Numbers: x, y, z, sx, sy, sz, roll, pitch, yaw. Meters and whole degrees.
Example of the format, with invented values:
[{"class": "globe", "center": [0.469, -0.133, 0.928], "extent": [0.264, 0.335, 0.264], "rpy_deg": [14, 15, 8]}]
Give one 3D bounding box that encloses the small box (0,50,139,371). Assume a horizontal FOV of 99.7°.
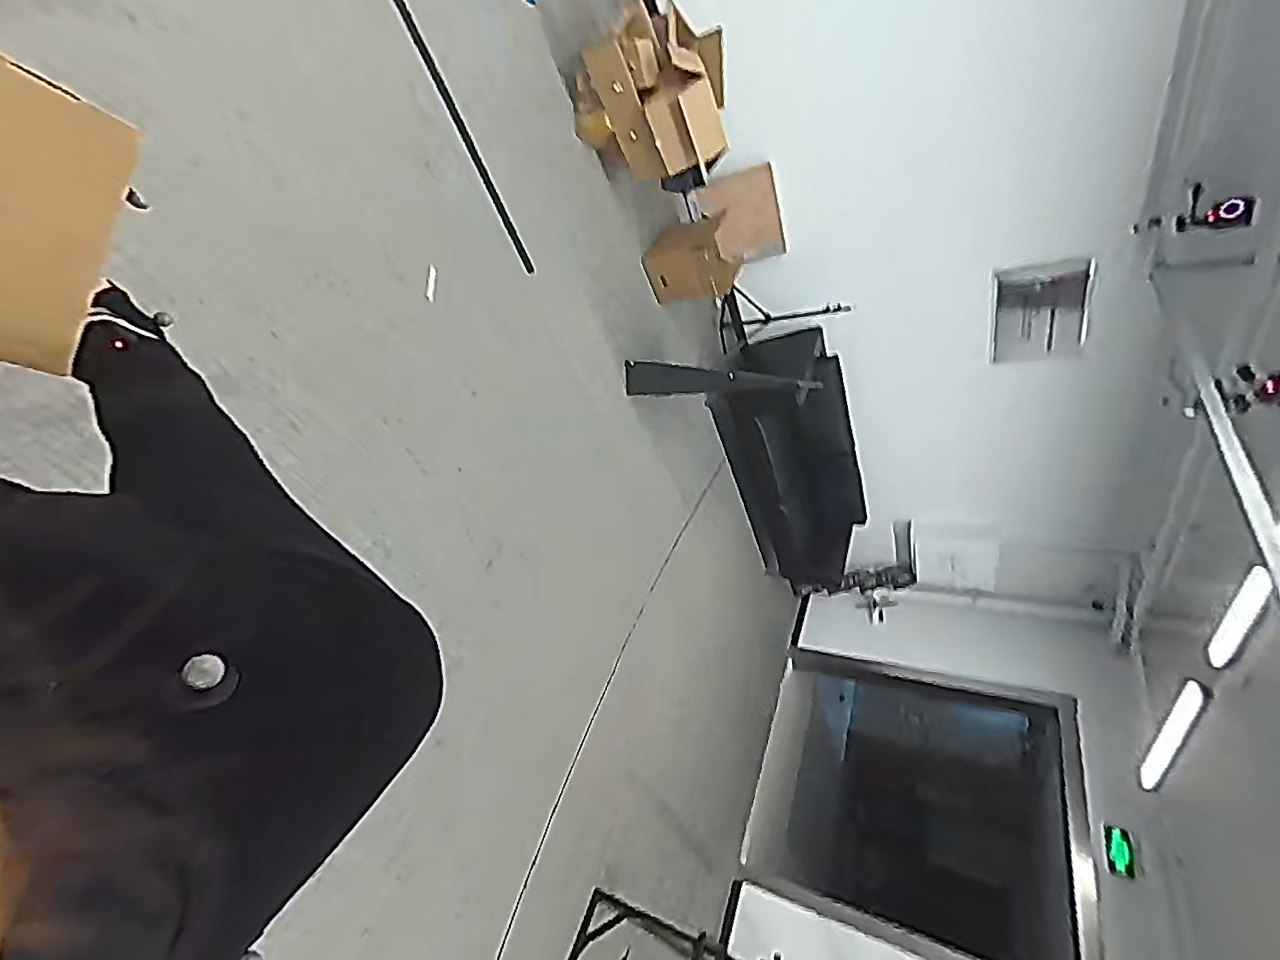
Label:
[{"class": "small box", "center": [-0.463, -0.185, 0.345], "extent": [0.168, 0.176, 0.179], "rpy_deg": [16, 90, -52]}]
